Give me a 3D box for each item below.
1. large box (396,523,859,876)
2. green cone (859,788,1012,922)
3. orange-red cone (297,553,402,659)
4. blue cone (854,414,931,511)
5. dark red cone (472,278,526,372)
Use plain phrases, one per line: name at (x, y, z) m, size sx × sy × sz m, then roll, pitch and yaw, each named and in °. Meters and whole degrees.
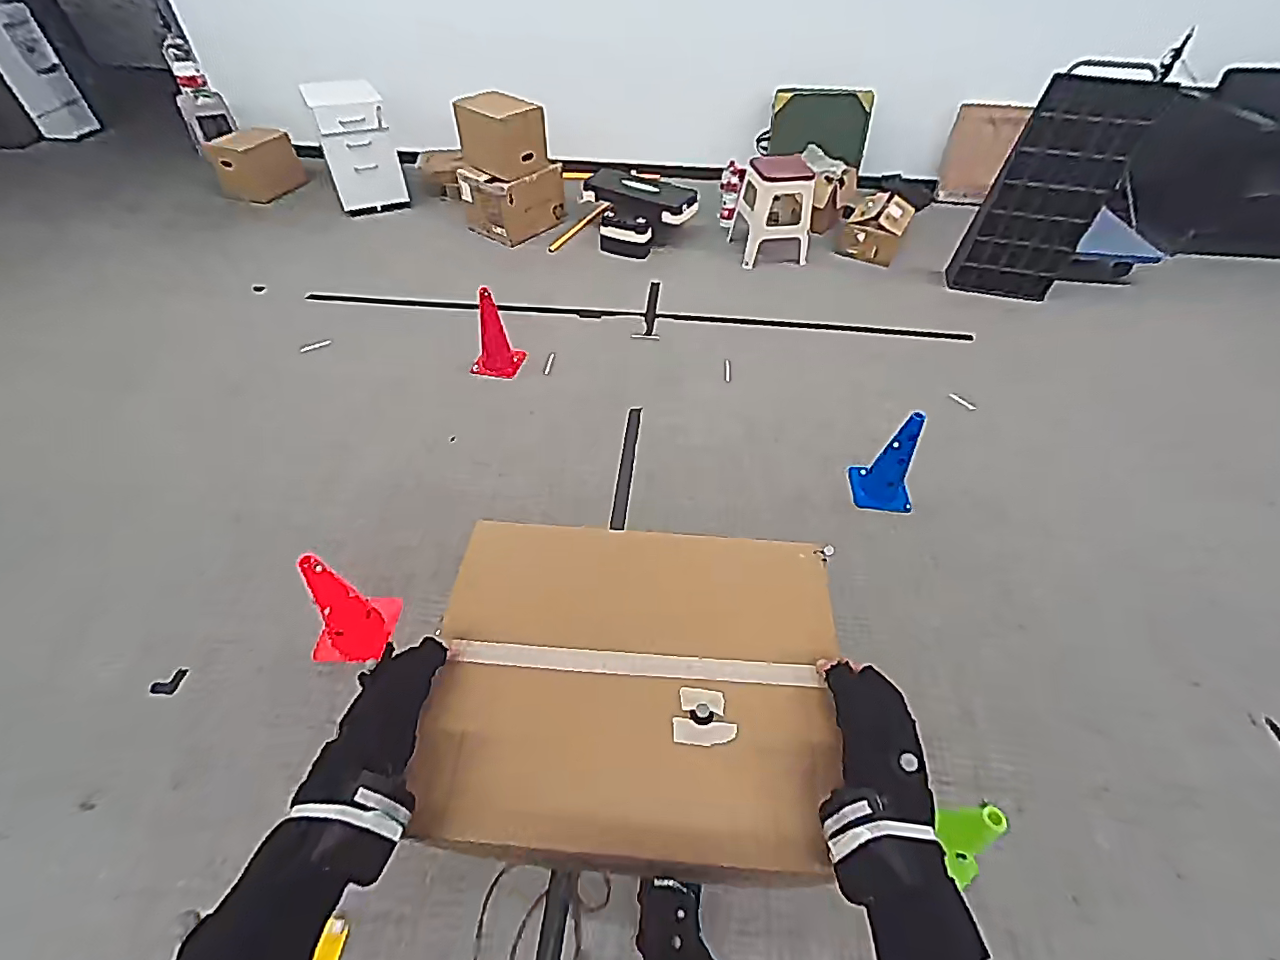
large box at (-0.007, 0.274, 0.663) m, size 0.408 × 0.320 × 0.320 m, roll 4°, pitch 52°, yaw 2°
green cone at (0.637, 0.726, 1.098) m, size 0.202 × 0.368 × 0.200 m, roll -23°, pitch 53°, yaw -23°
orange-red cone at (-0.805, 0.309, 1.431) m, size 0.198 × 0.360 × 0.199 m, roll 2°, pitch 49°, yaw 1°
blue cone at (0.890, -0.077, 1.855) m, size 0.192 × 0.380 × 0.193 m, roll 8°, pitch 48°, yaw 4°
dark red cone at (-0.617, -0.659, 2.279) m, size 0.201 × 0.394 × 0.202 m, roll 10°, pitch 49°, yaw 5°
